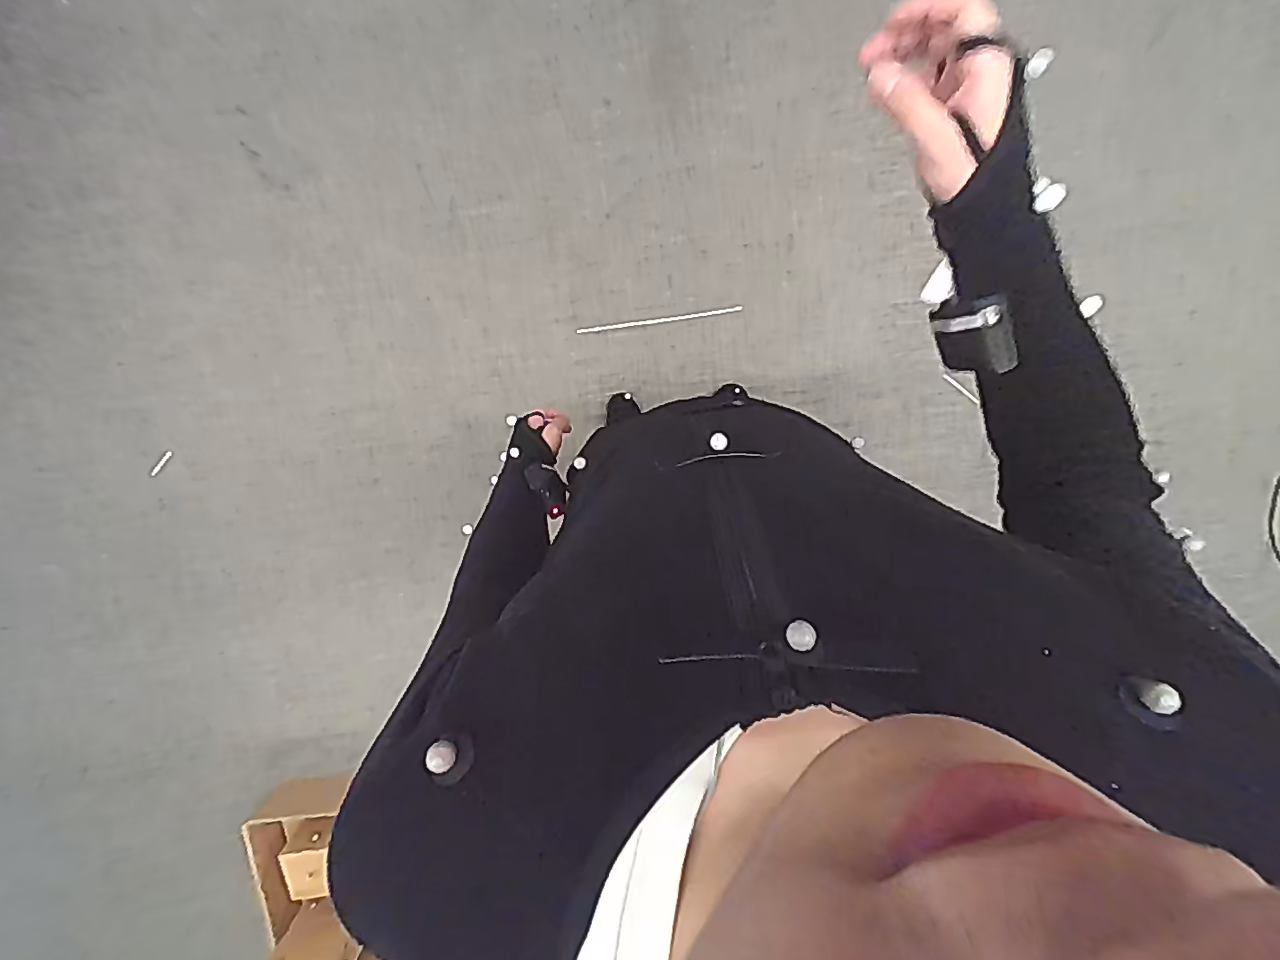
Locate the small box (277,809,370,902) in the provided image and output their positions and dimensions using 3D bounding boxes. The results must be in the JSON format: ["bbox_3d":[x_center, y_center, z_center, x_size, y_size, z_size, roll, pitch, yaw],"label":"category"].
[{"bbox_3d":[-0.989,1.175,1.702,0.179,0.176,0.168,-8,100,0],"label":"small box"}]

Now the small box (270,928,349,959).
[{"bbox_3d":[-0.984,1.458,1.579,0.179,0.176,0.168,-4,99,0],"label":"small box"}]
